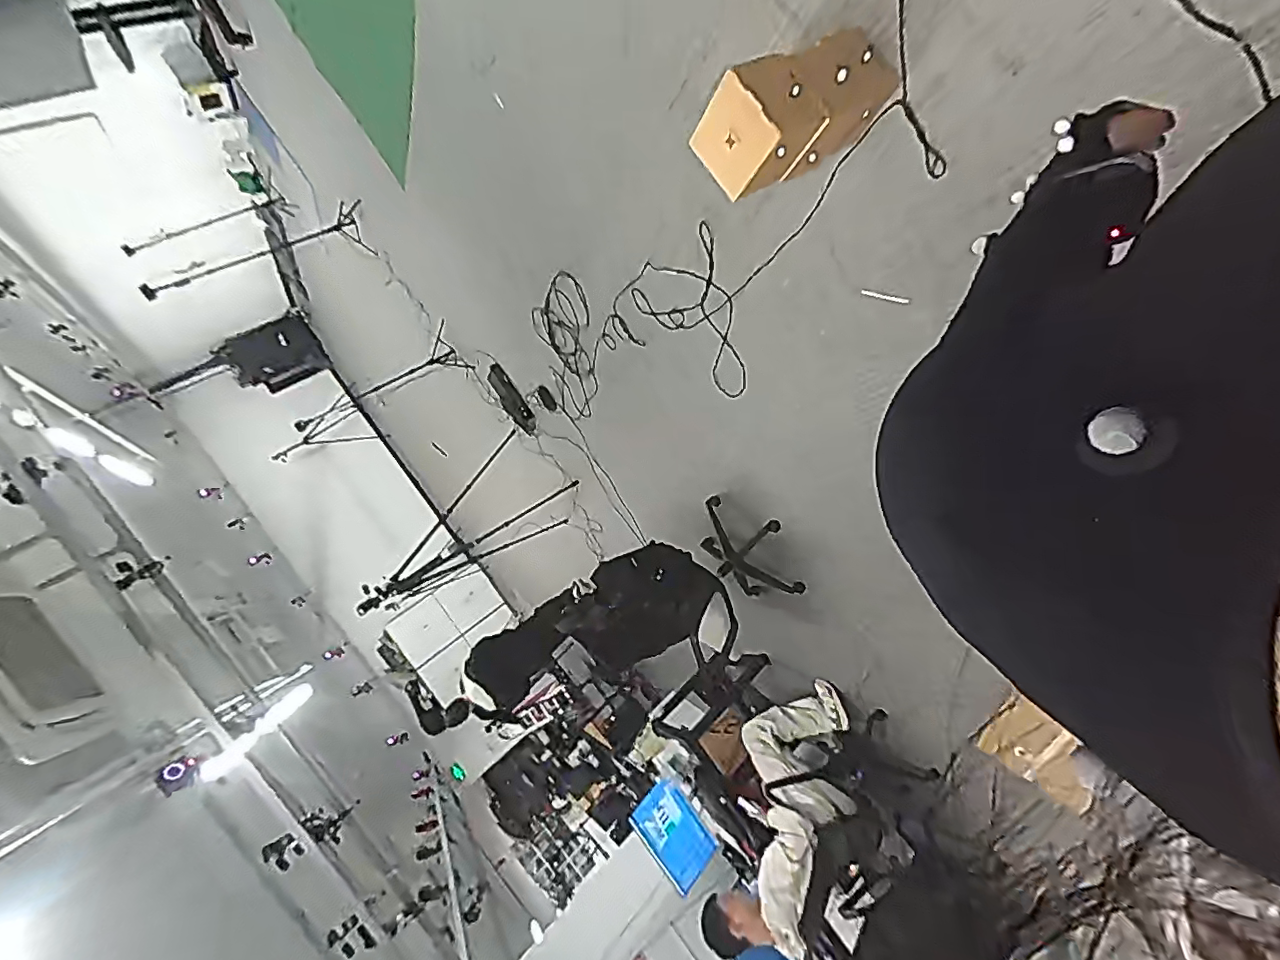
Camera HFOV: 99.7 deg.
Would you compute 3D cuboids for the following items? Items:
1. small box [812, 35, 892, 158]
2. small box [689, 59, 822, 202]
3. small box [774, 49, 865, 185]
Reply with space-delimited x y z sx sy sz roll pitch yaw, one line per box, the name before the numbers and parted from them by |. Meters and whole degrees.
small box | 0.465 -0.909 1.286 0.168 0.176 0.179 52 154 4
small box | 0.242 -0.729 1.131 0.168 0.176 0.179 53 152 1
small box | 0.360 -0.809 1.209 0.168 0.176 0.179 53 152 0
